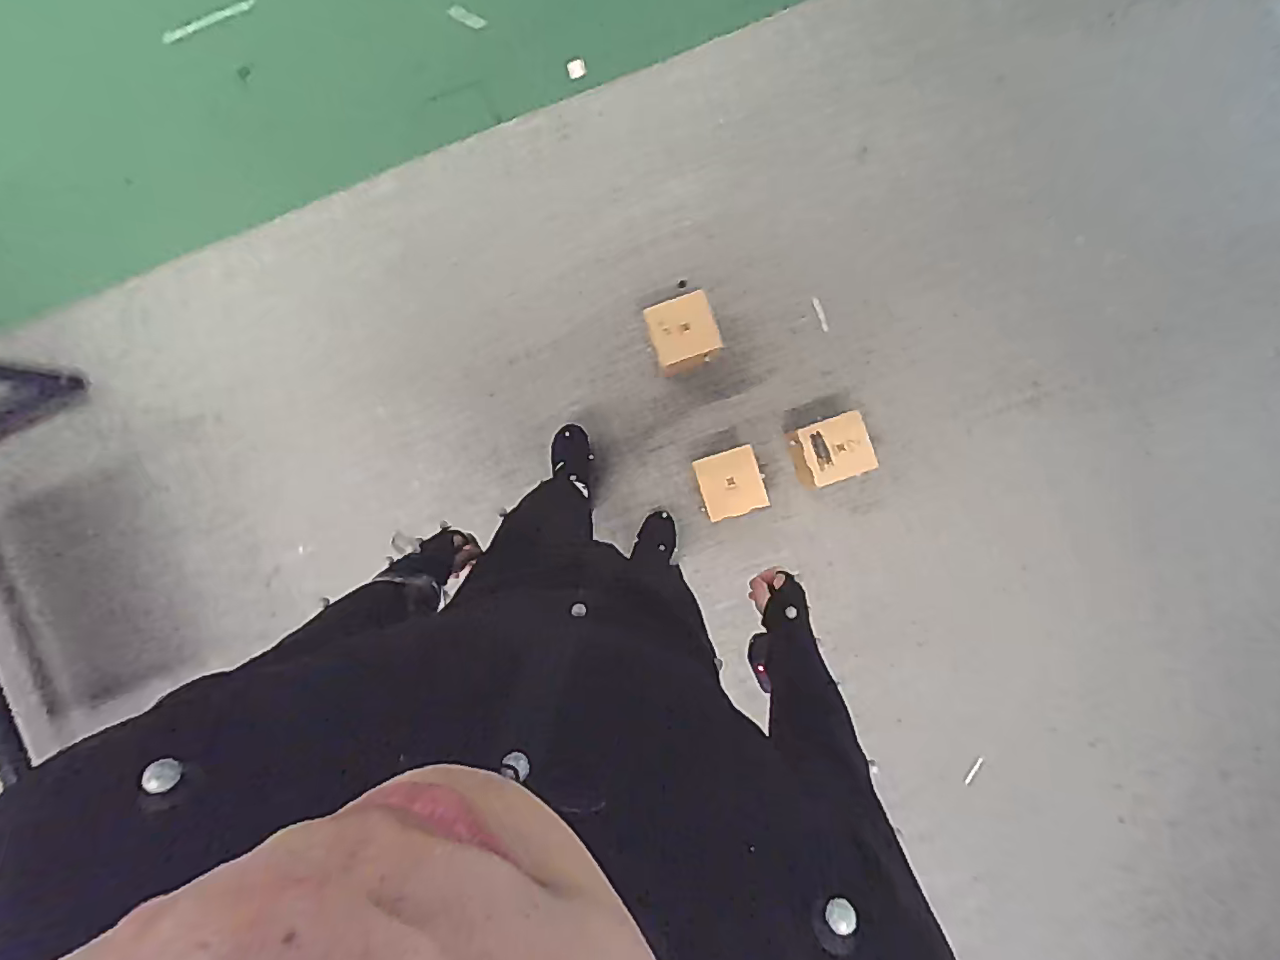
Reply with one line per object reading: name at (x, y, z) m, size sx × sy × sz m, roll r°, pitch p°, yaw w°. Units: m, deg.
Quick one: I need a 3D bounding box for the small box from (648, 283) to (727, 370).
small box at (0.128, -0.422, 1.511) m, size 0.179 × 0.176 × 0.168 m, roll -18°, pitch 90°, yaw 3°

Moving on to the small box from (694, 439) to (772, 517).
small box at (0.253, -0.005, 1.516) m, size 0.168 × 0.176 × 0.179 m, roll -17°, pitch 91°, yaw 4°
